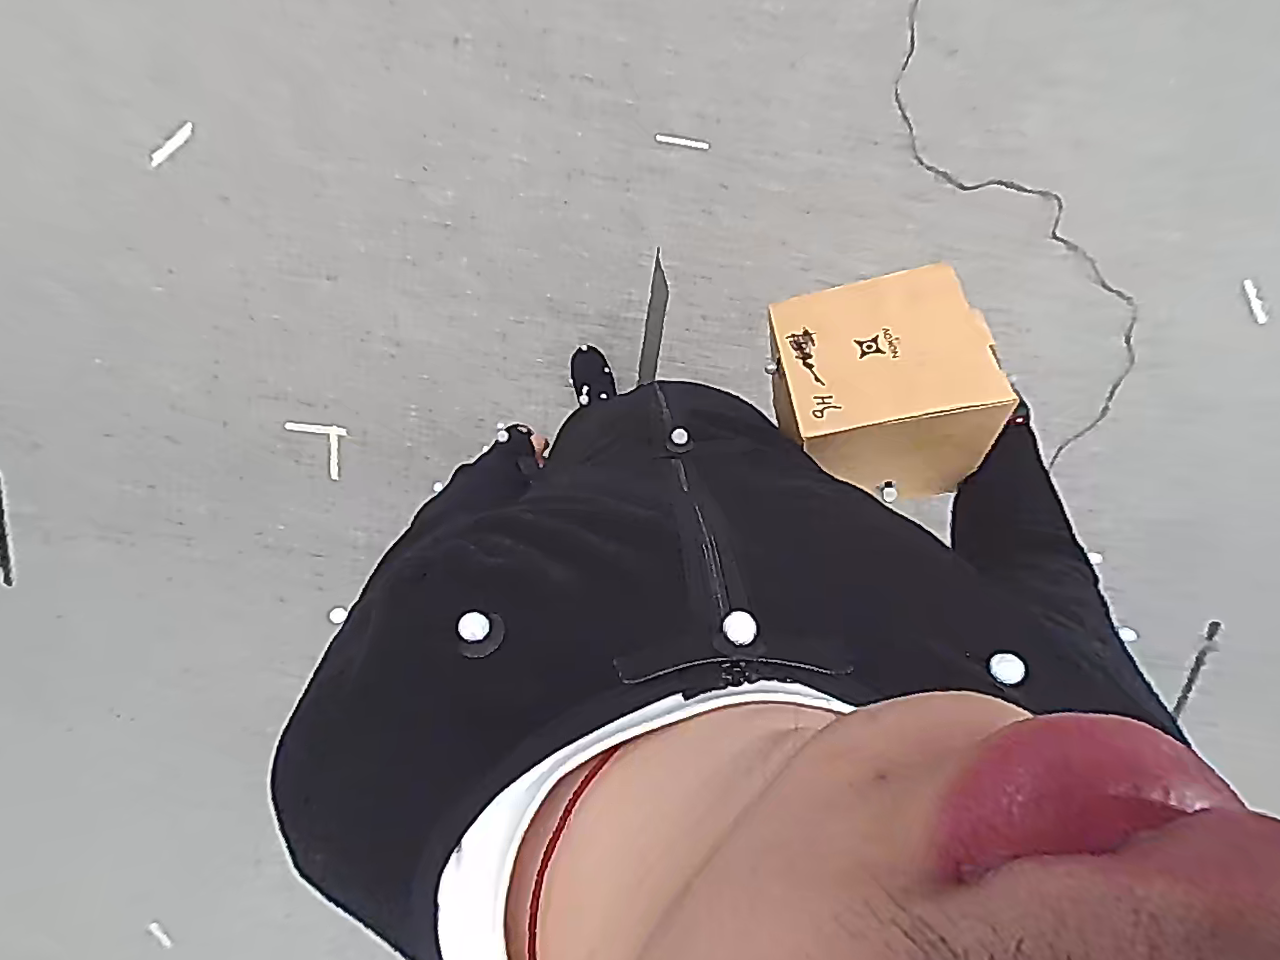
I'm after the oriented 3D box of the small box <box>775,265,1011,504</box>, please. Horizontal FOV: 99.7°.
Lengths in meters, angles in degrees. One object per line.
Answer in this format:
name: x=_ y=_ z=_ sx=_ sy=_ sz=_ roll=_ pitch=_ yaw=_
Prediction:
small box: x=0.244 y=-0.090 z=0.575 sx=0.179 sy=0.176 sz=0.168 roll=-10 pitch=60 yaw=10
